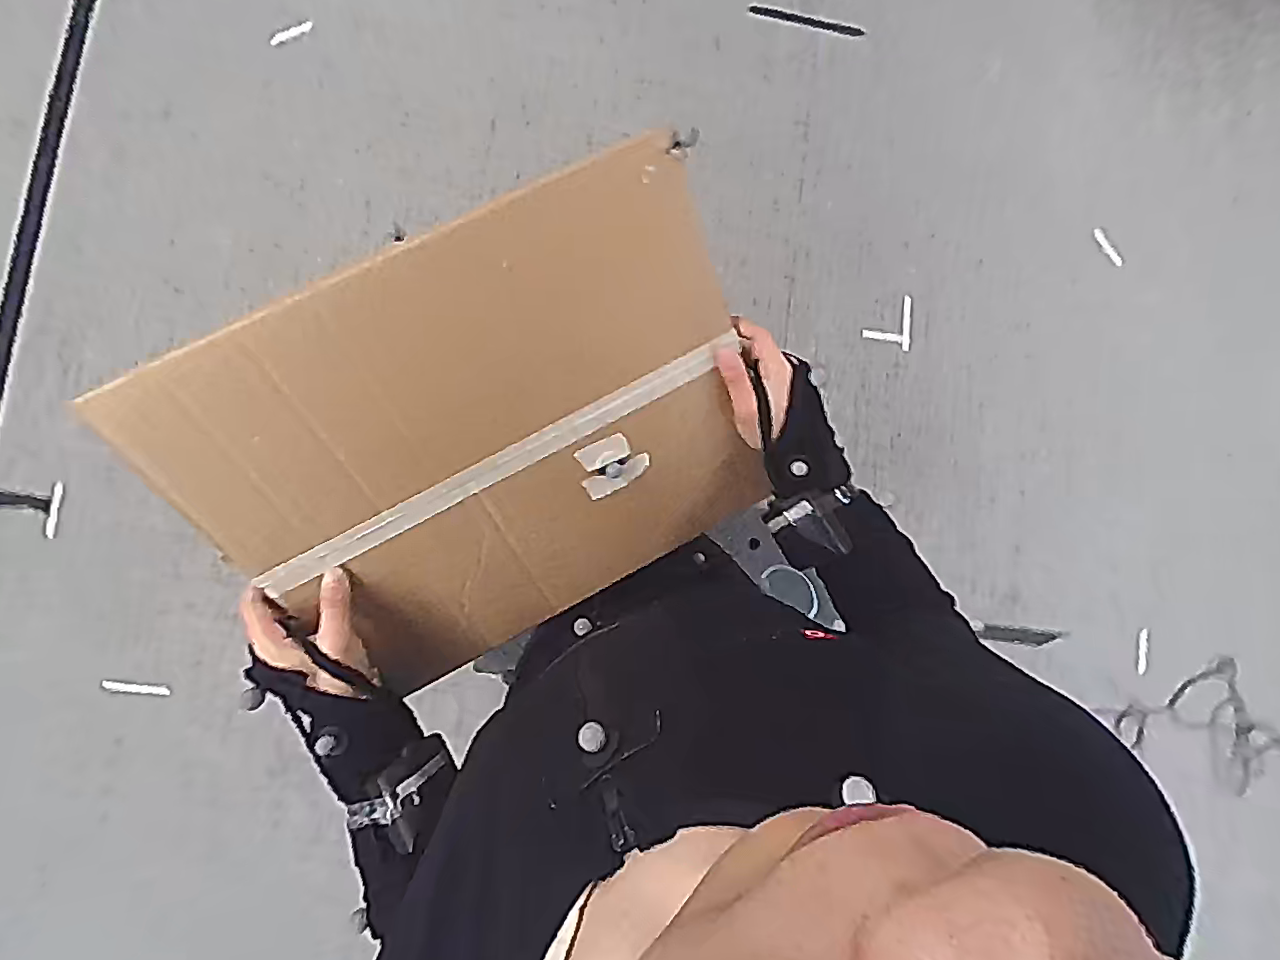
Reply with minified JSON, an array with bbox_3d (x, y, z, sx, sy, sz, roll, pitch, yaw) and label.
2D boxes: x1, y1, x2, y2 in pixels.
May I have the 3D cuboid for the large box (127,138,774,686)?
[{"bbox_3d":[-0.143,-0.084,0.555,0.408,0.320,0.320,-28,122,-6],"label":"large box"}]

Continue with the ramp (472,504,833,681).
[{"bbox_3d":[0.090,0.285,1.464,0.991,0.206,0.509,6,84,-8],"label":"ramp"}]
